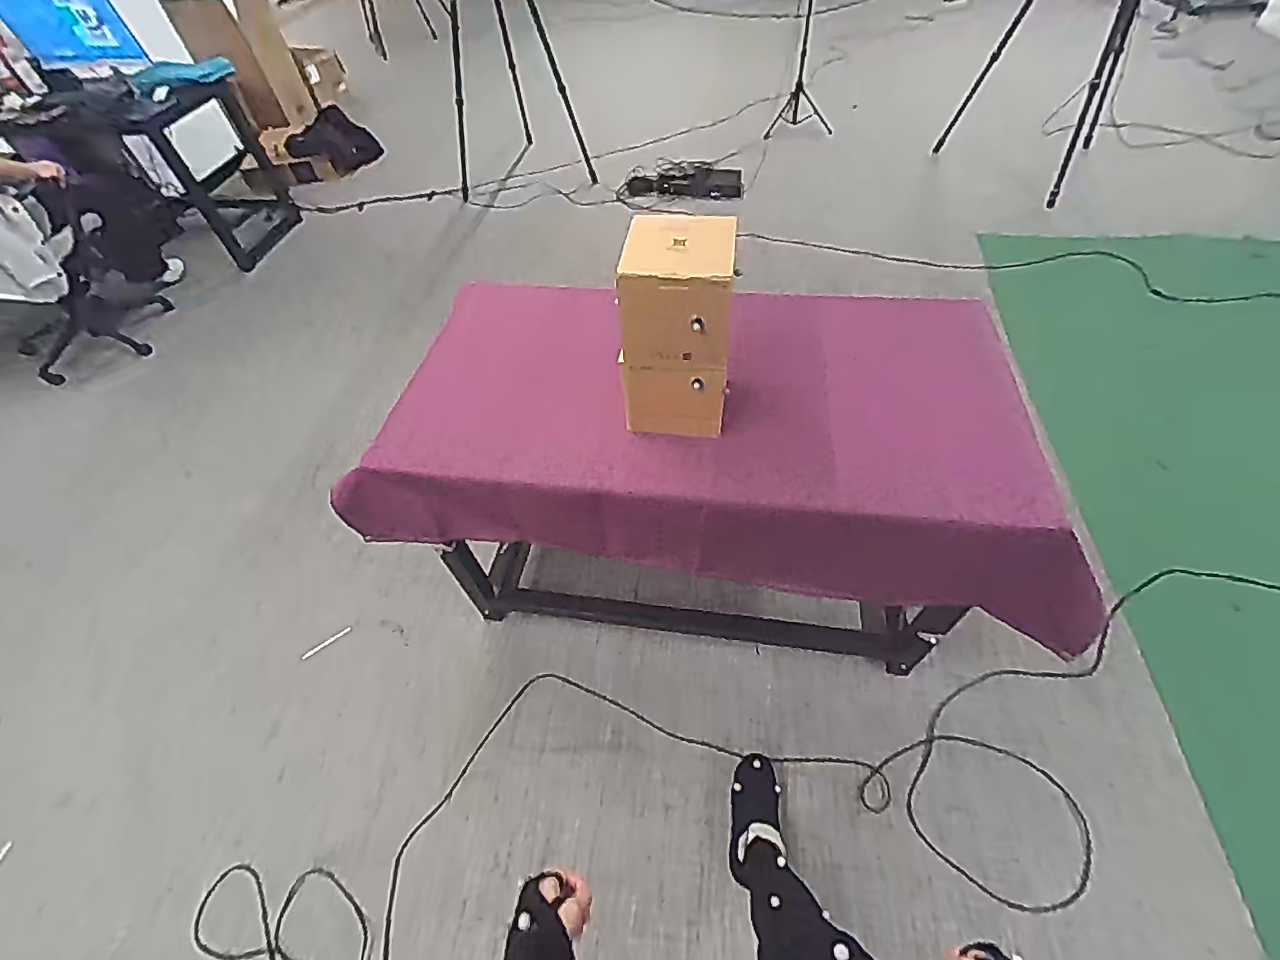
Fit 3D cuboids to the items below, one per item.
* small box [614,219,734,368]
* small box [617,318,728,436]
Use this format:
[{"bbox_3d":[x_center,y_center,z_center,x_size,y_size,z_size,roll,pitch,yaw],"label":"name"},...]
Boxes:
[{"bbox_3d":[0.060,-0.298,0.873,0.168,0.176,0.179,5,51,8],"label":"small box"},{"bbox_3d":[0.065,-0.198,1.001,0.179,0.176,0.168,6,52,9],"label":"small box"}]
